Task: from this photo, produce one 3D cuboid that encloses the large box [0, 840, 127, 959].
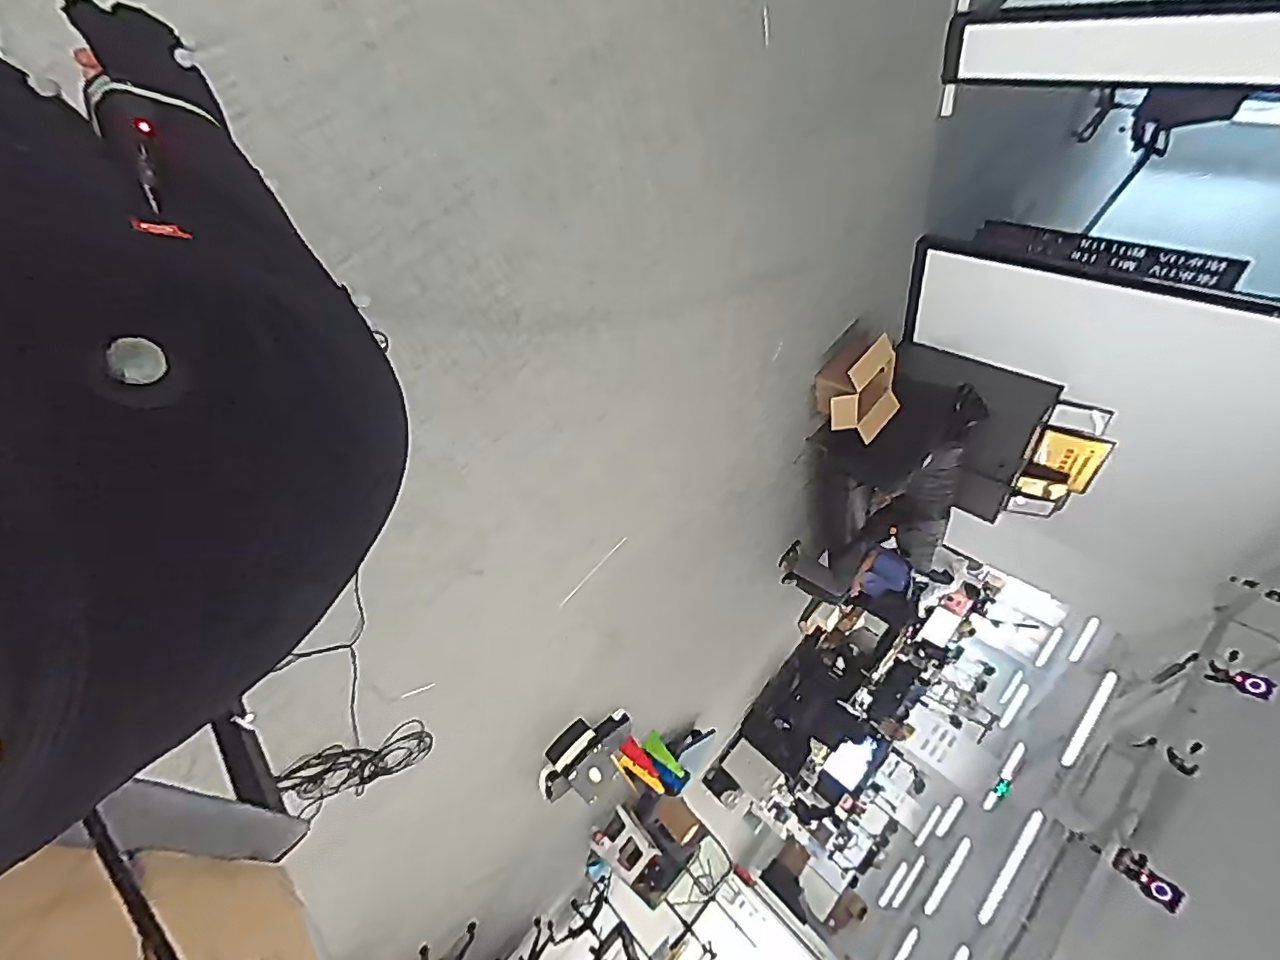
[{"bbox_3d":[-0.850,0.657,0.543,0.408,0.320,0.320,-45,144,-18],"label":"large box"}]
